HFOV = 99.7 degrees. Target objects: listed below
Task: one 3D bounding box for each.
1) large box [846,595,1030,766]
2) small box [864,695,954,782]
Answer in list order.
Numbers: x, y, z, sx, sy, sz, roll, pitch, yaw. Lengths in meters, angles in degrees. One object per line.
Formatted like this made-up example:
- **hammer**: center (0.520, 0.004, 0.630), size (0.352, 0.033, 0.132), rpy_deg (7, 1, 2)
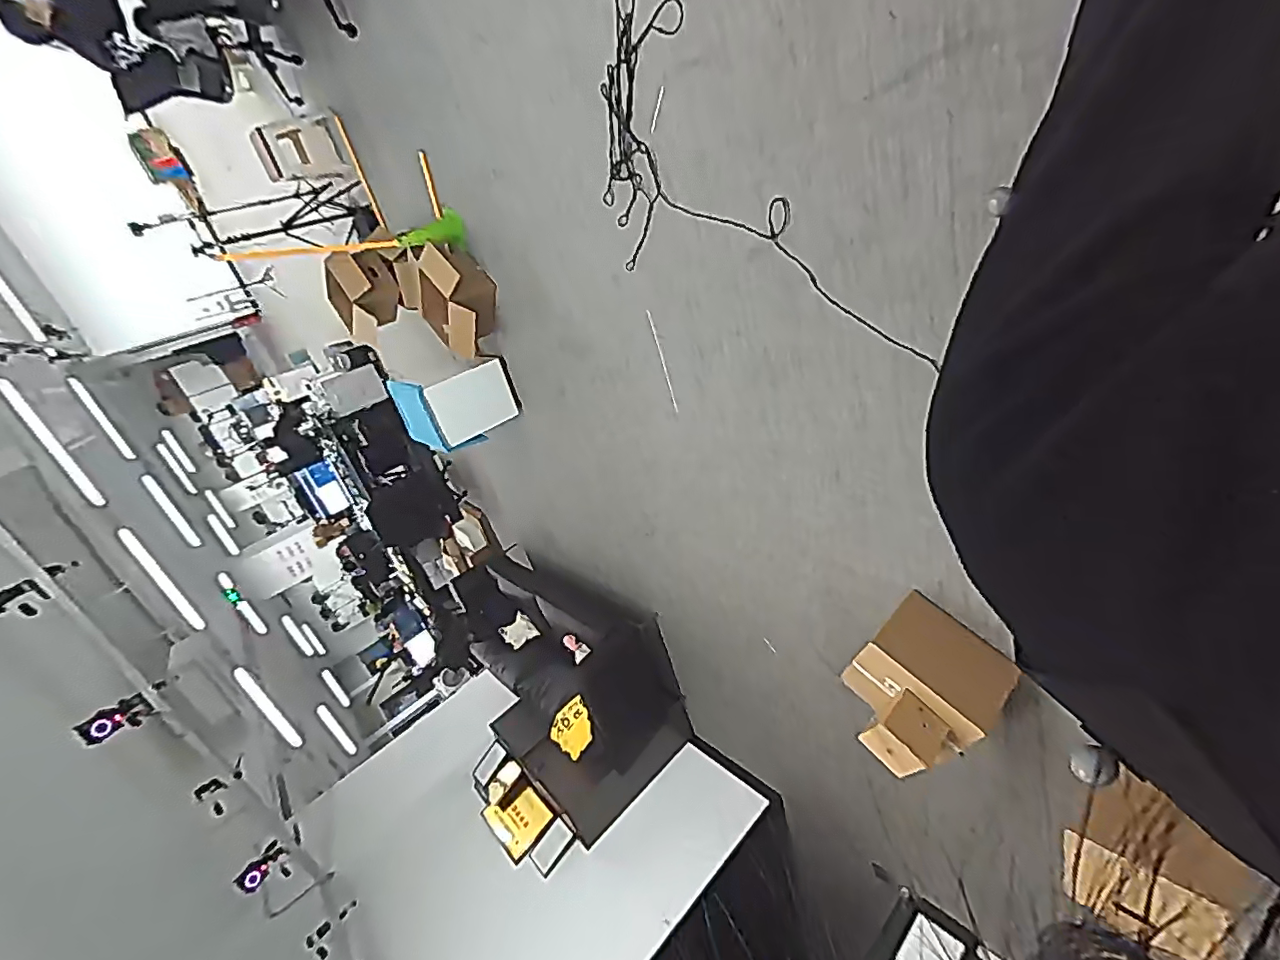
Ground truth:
- **large box**: center (1.018, 0.687, 1.878), size (0.408, 0.320, 0.320), rpy_deg (41, 146, 28)
- **small box**: center (0.869, 0.832, 1.744), size (0.168, 0.176, 0.179), rpy_deg (43, 148, 24)
